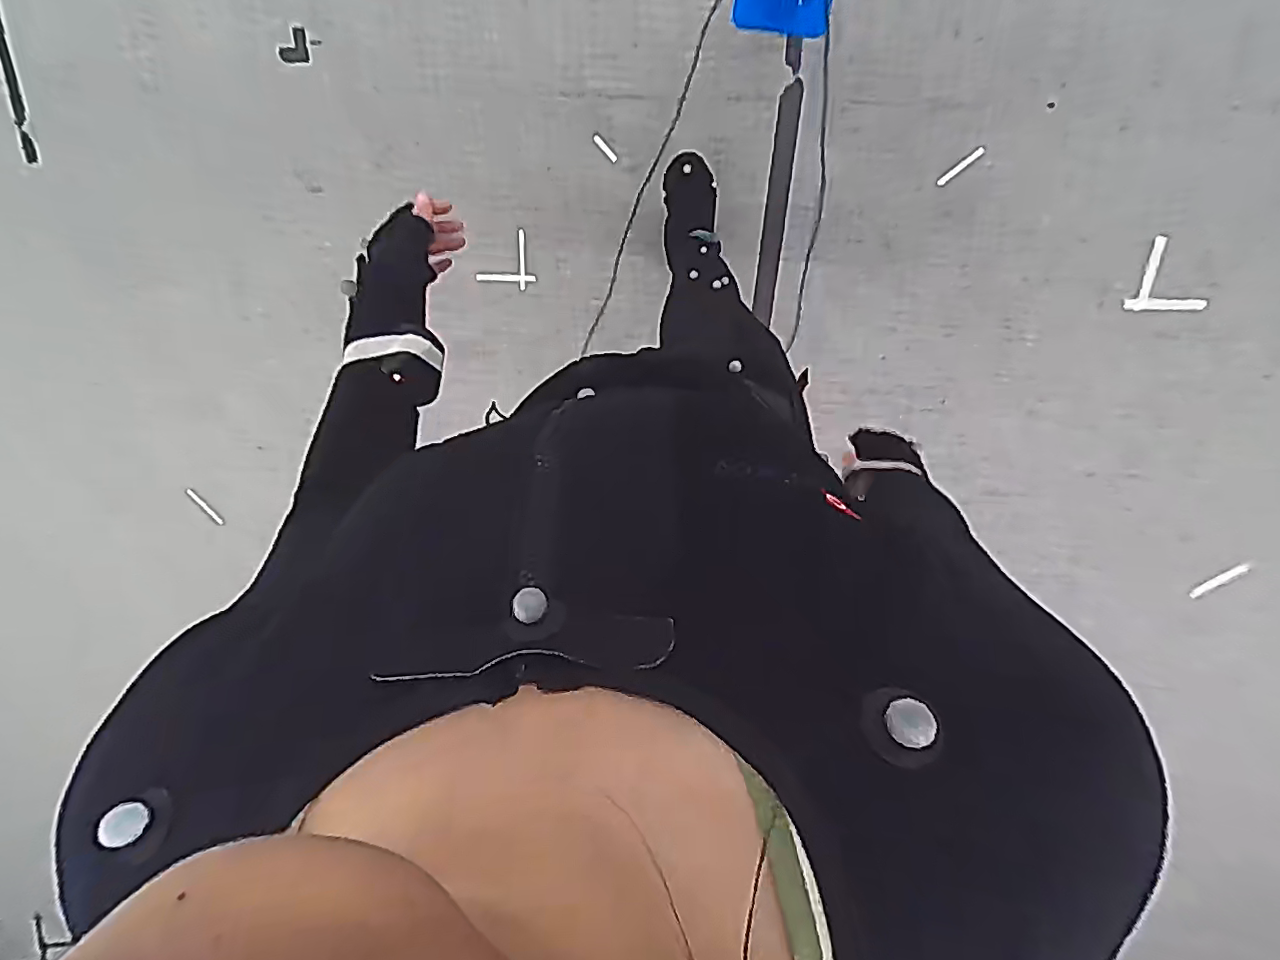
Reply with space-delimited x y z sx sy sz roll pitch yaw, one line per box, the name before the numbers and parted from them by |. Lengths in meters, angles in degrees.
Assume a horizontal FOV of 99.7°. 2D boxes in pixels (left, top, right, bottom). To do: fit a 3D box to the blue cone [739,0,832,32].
blue cone | 0.284 -0.960 0.930 0.193 0.380 0.192 8 111 3
